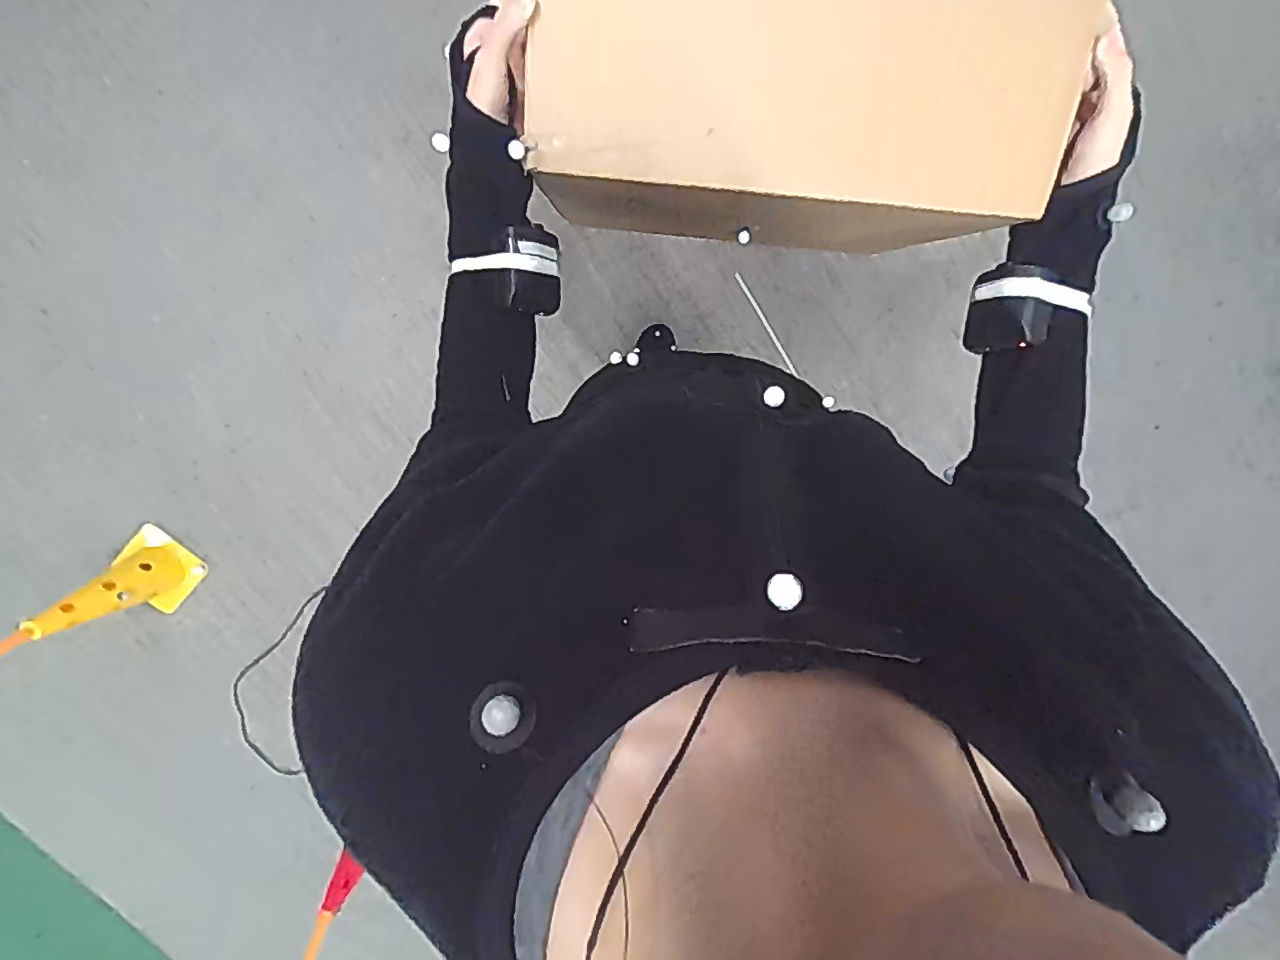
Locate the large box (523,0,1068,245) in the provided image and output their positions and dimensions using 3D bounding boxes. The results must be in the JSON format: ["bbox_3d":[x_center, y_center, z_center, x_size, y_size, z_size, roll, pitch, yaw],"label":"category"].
[{"bbox_3d":[0.115,-0.414,0.525,0.408,0.320,0.320,3,107,-2],"label":"large box"}]
